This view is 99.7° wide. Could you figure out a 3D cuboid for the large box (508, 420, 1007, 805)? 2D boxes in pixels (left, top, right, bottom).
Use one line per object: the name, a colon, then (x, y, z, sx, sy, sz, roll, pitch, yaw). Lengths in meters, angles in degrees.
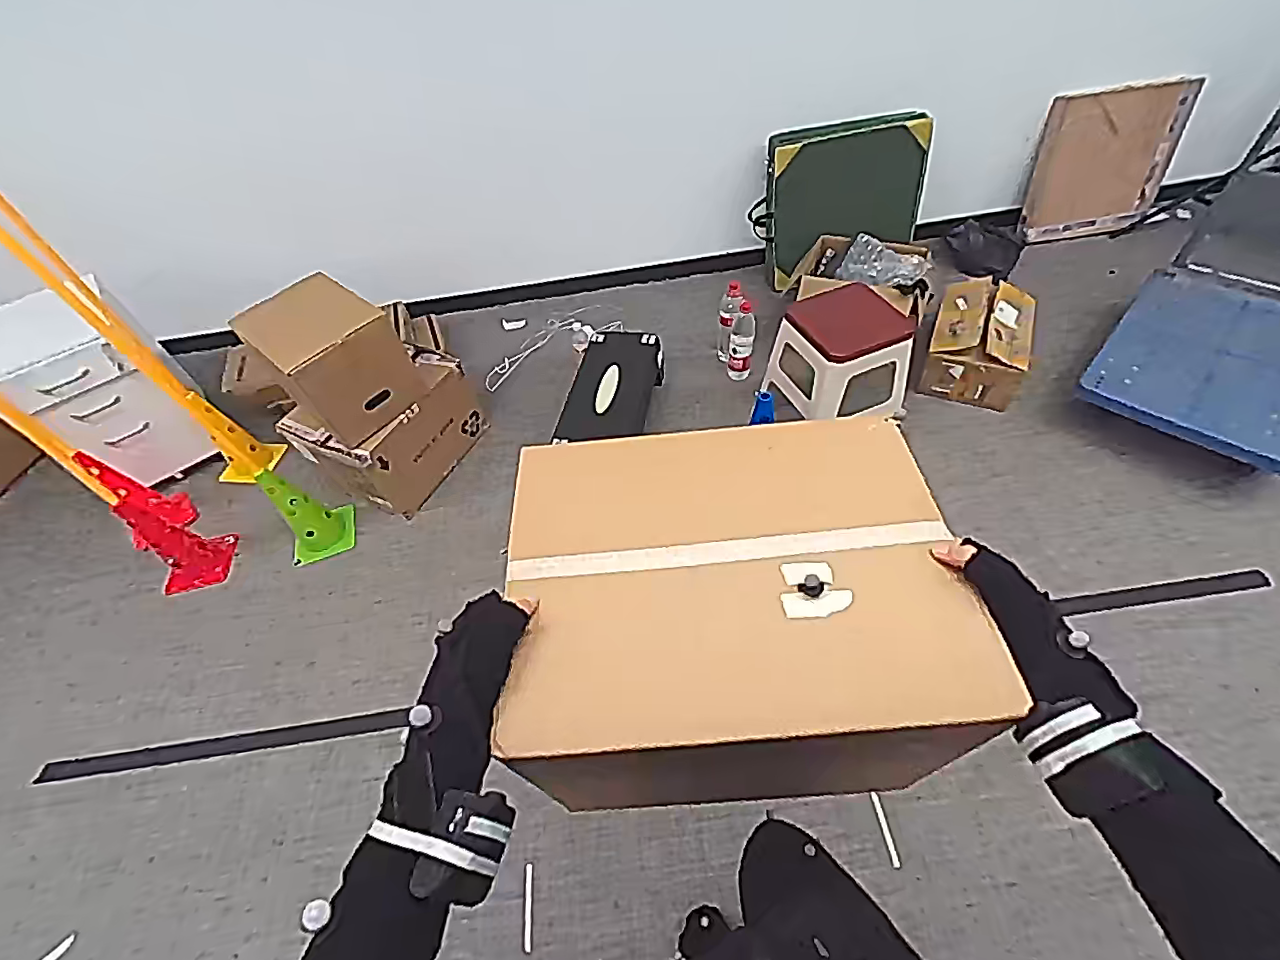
large box: (0.092, 0.163, 0.630, 0.408, 0.320, 0.320, -5, 52, 2)
